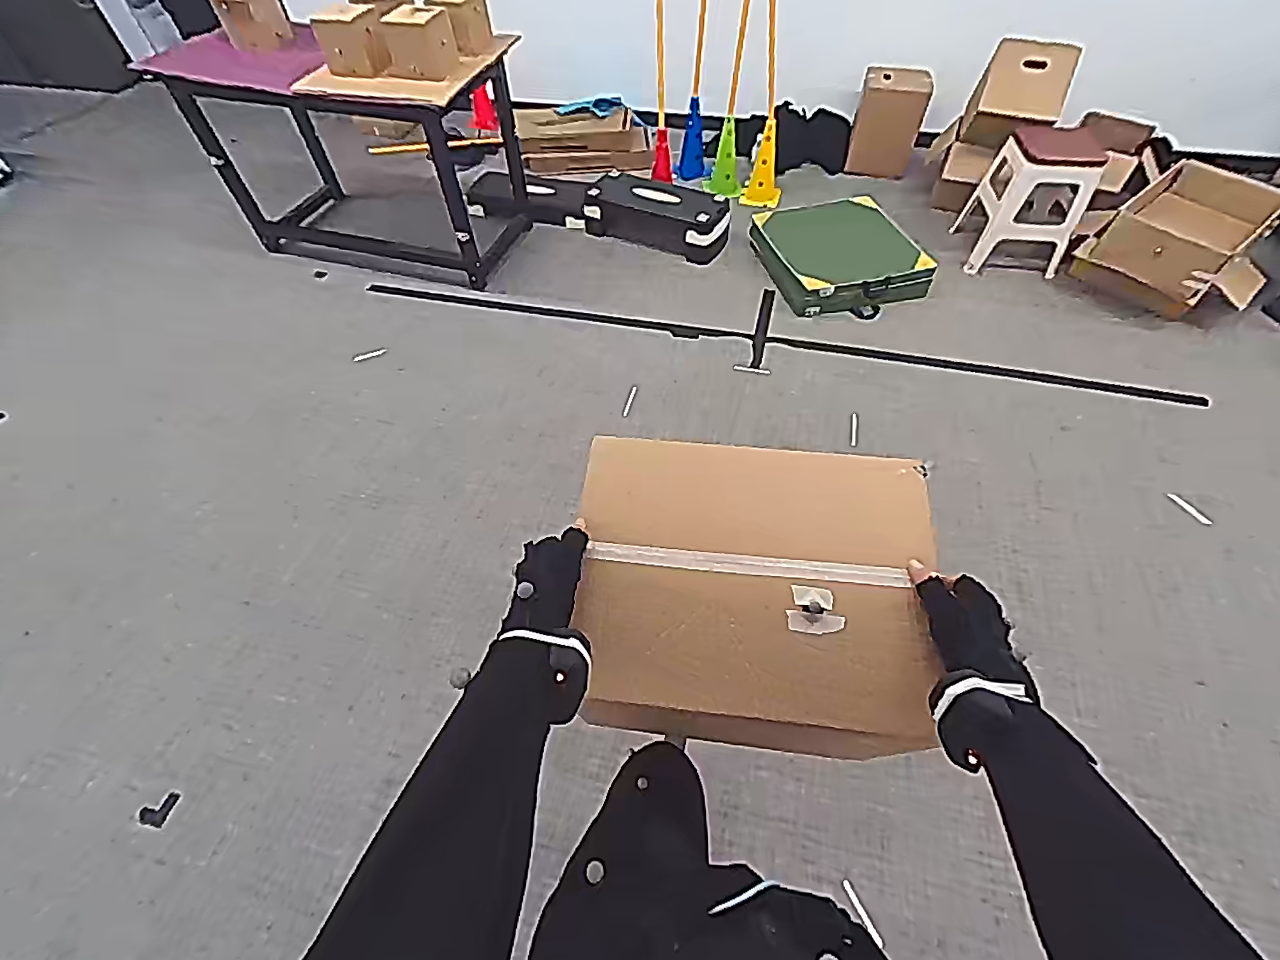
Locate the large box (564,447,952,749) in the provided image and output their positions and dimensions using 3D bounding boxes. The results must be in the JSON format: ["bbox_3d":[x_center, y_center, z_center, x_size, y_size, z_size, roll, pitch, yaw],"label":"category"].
[{"bbox_3d":[0.133,0.175,0.752,0.408,0.320,0.320,5,62,5],"label":"large box"}]
